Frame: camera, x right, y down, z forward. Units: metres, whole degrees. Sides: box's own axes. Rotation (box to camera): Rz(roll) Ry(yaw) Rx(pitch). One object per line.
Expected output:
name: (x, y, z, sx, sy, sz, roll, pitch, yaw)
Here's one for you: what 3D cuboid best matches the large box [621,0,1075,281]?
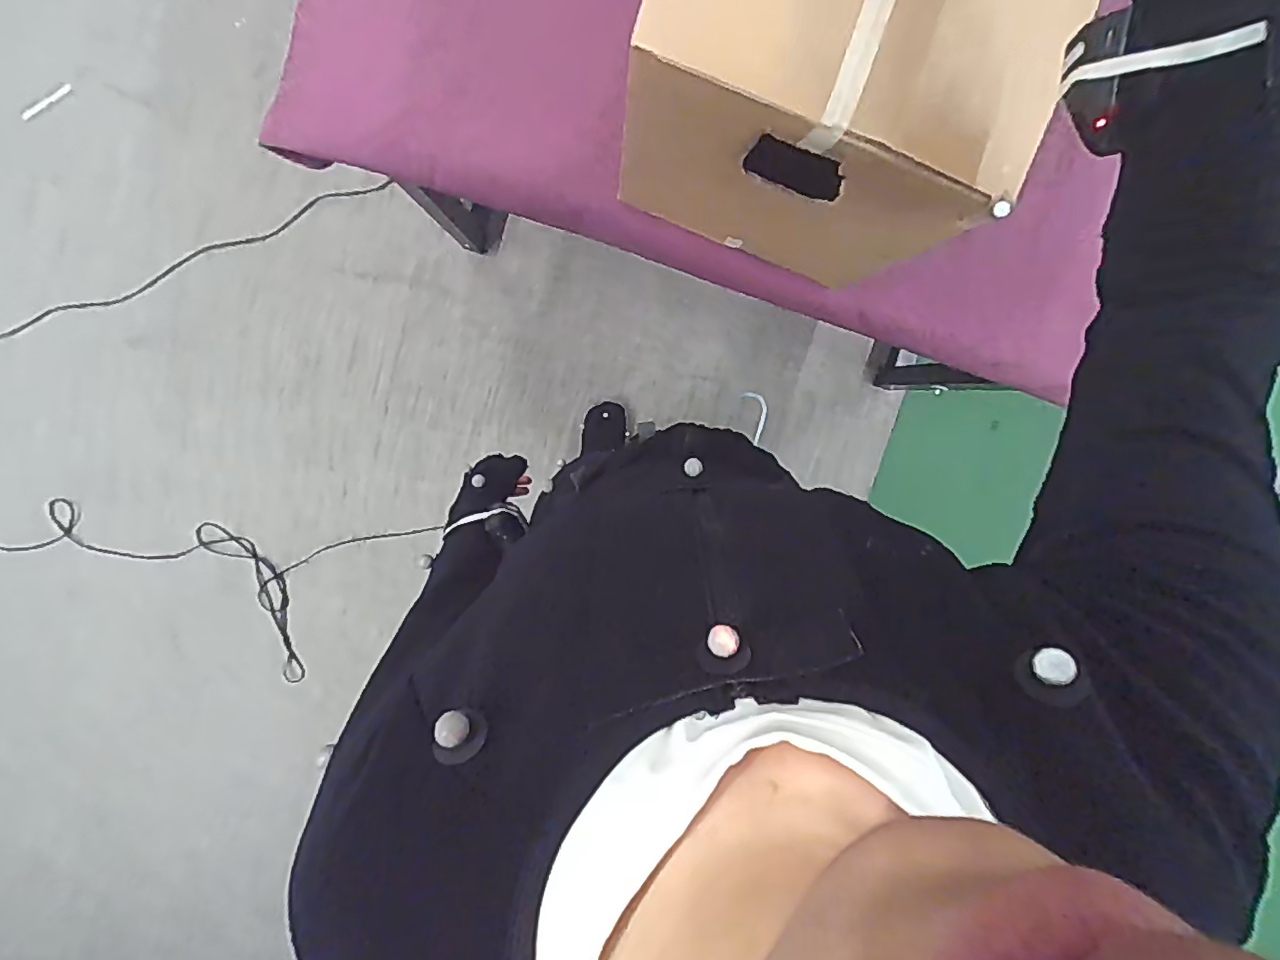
large box: (0.191, -0.472, 0.539, 0.320, 0.320, 0.408, 19, 98, -6)
